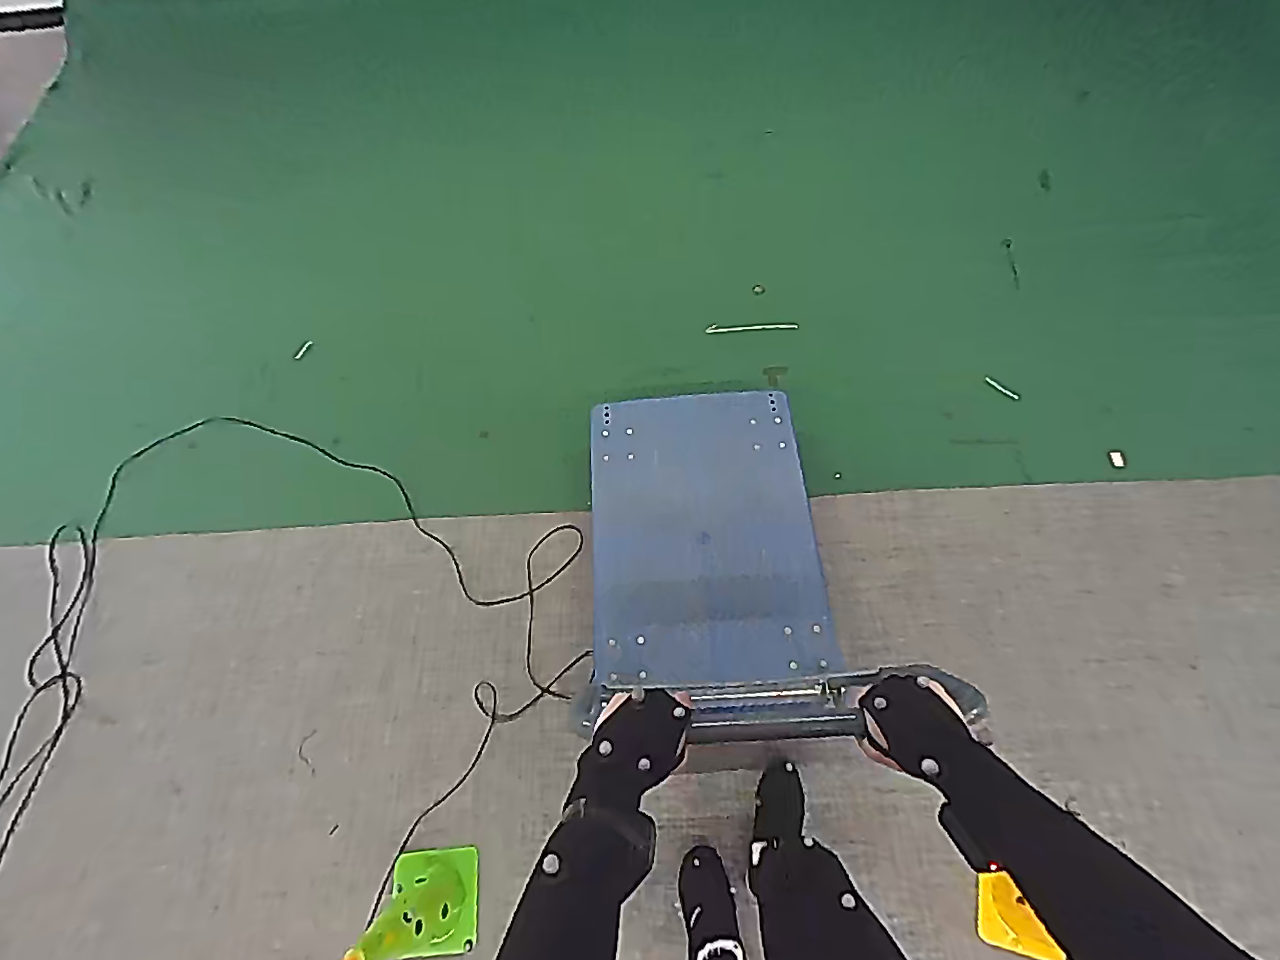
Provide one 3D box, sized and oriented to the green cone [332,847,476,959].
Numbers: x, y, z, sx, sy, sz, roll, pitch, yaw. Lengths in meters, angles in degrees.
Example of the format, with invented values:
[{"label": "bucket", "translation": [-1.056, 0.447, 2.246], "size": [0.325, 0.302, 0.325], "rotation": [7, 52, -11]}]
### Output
[{"label": "green cone", "translation": [-0.491, 0.899, 1.088], "size": [0.202, 0.368, 0.200], "rotation": [-8, 65, 2]}]
